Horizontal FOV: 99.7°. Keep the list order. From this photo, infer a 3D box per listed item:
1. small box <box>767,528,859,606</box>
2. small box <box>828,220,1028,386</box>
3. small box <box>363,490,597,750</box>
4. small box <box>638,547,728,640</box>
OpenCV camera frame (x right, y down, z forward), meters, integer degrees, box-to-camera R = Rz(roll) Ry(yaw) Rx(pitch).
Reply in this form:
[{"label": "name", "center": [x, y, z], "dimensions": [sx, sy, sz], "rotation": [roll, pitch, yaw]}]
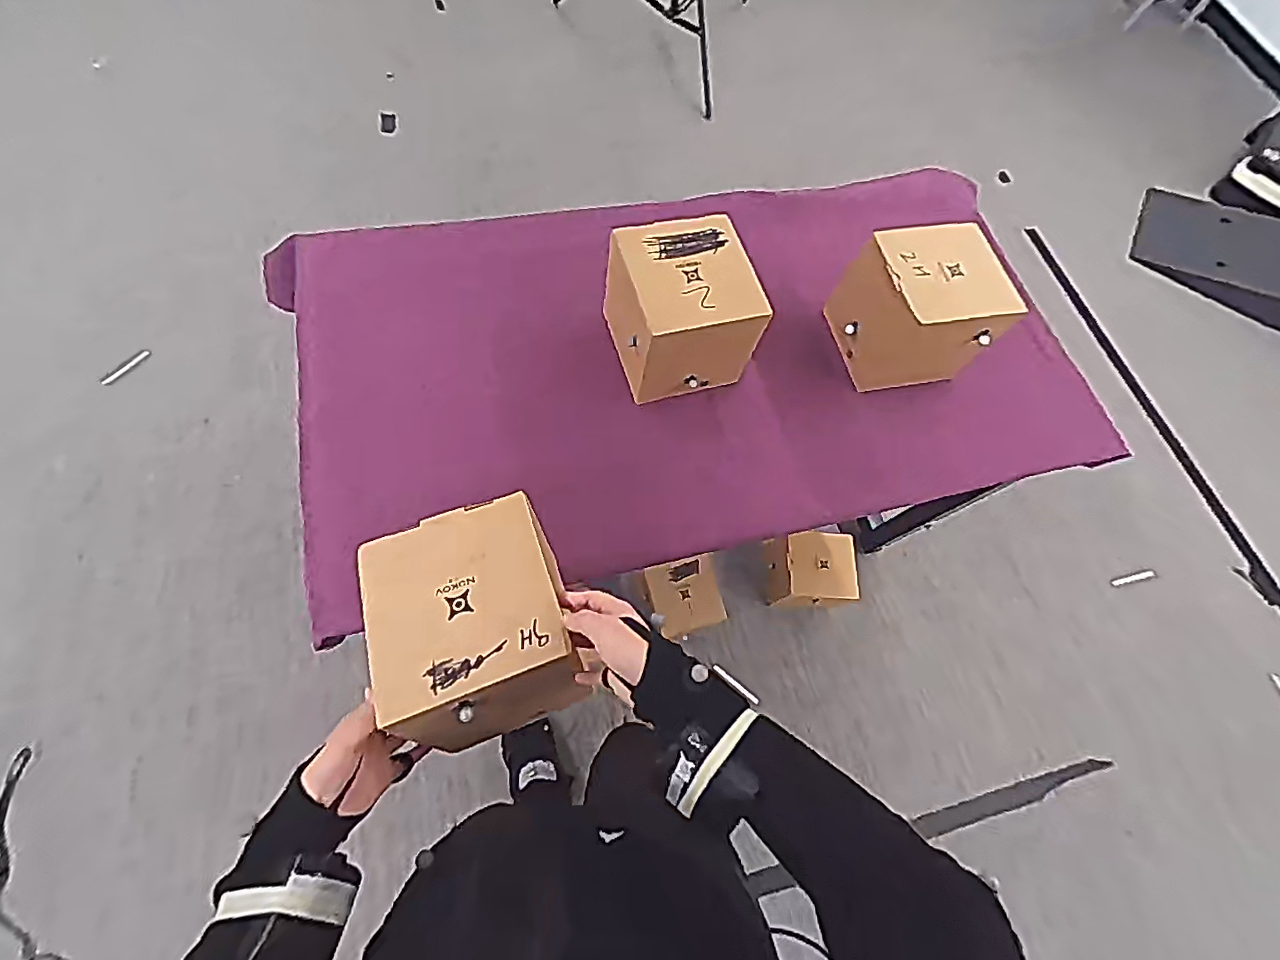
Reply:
[{"label": "small box", "center": [0.445, 0.233, 1.413], "dimensions": [0.179, 0.176, 0.168], "rotation": [4, 68, -4]}, {"label": "small box", "center": [0.419, -0.261, 0.818], "dimensions": [0.179, 0.176, 0.168], "rotation": [-10, 69, -10]}, {"label": "small box", "center": [-0.152, 0.145, 0.546], "dimensions": [0.168, 0.176, 0.179], "rotation": [-20, 58, -9]}, {"label": "small box", "center": [0.099, 0.286, 1.347], "dimensions": [0.168, 0.176, 0.179], "rotation": [-12, 71, -11]}]
